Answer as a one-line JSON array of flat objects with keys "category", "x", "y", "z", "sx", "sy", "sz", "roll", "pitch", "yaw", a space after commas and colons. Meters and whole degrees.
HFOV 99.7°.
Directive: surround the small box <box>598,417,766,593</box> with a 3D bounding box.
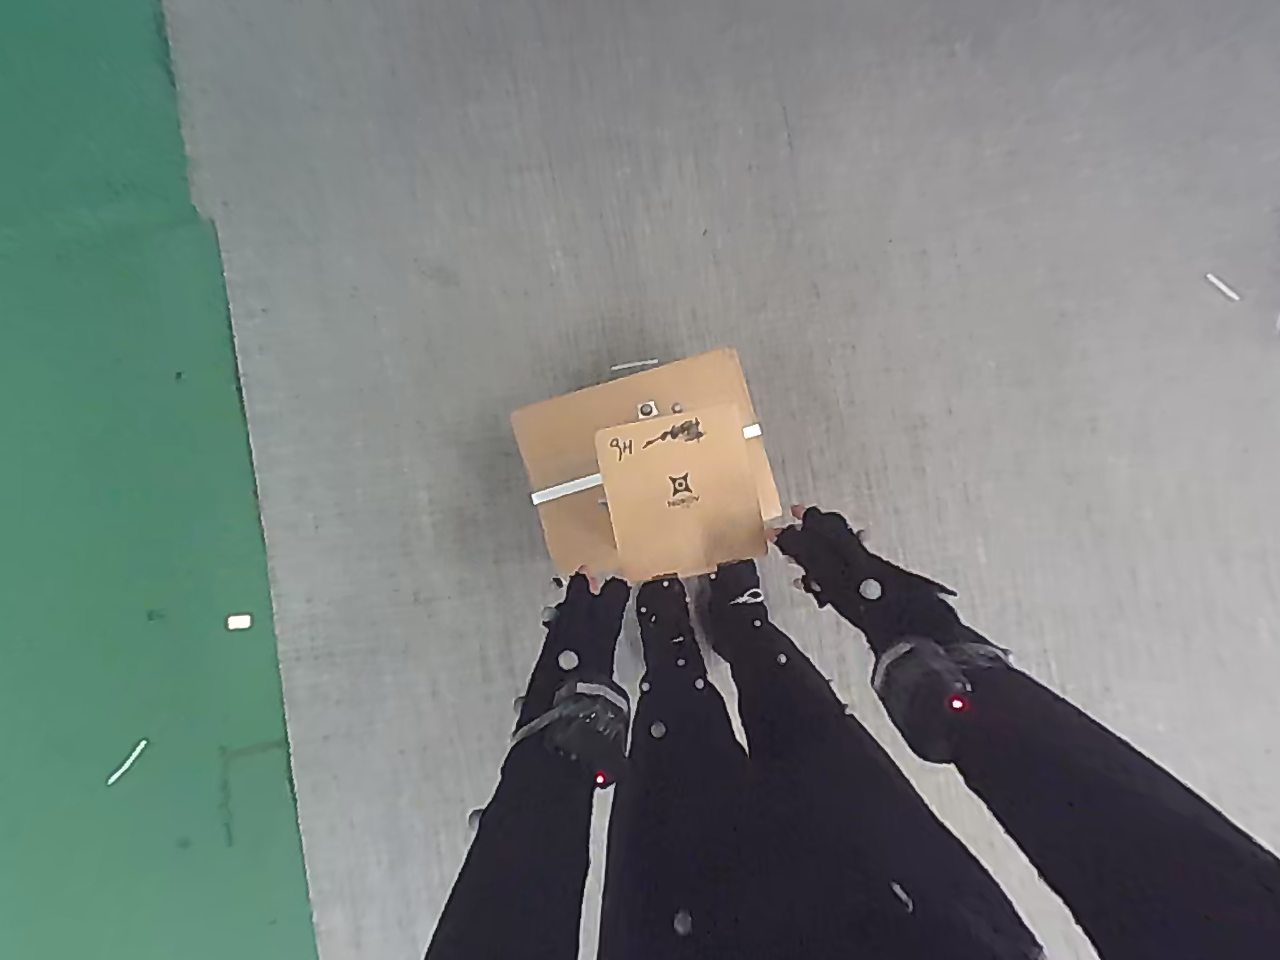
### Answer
[{"category": "small box", "x": 0.046, "y": 0.029, "z": 0.687, "sx": 0.168, "sy": 0.176, "sz": 0.179, "roll": -12, "pitch": 88, "yaw": -2}]
